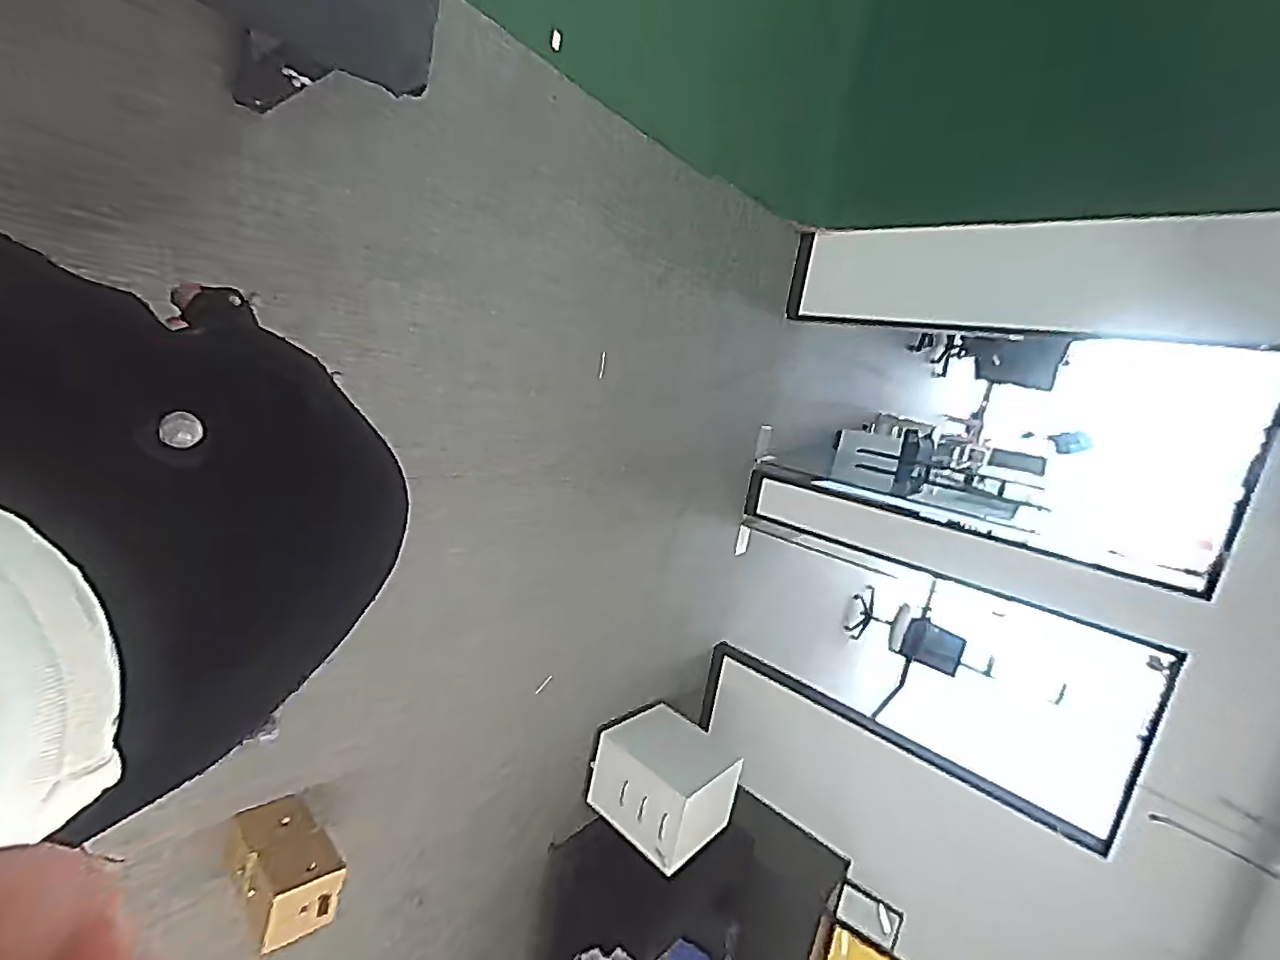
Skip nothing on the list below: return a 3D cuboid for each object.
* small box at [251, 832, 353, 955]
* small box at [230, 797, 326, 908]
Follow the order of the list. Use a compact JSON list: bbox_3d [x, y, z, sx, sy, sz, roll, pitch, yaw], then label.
[{"bbox_3d":[-0.918,1.107,1.468,0.179,0.176,0.168,9,97,-51],"label":"small box"},{"bbox_3d":[-1.046,1.063,1.562,0.179,0.176,0.168,6,100,-52],"label":"small box"}]
